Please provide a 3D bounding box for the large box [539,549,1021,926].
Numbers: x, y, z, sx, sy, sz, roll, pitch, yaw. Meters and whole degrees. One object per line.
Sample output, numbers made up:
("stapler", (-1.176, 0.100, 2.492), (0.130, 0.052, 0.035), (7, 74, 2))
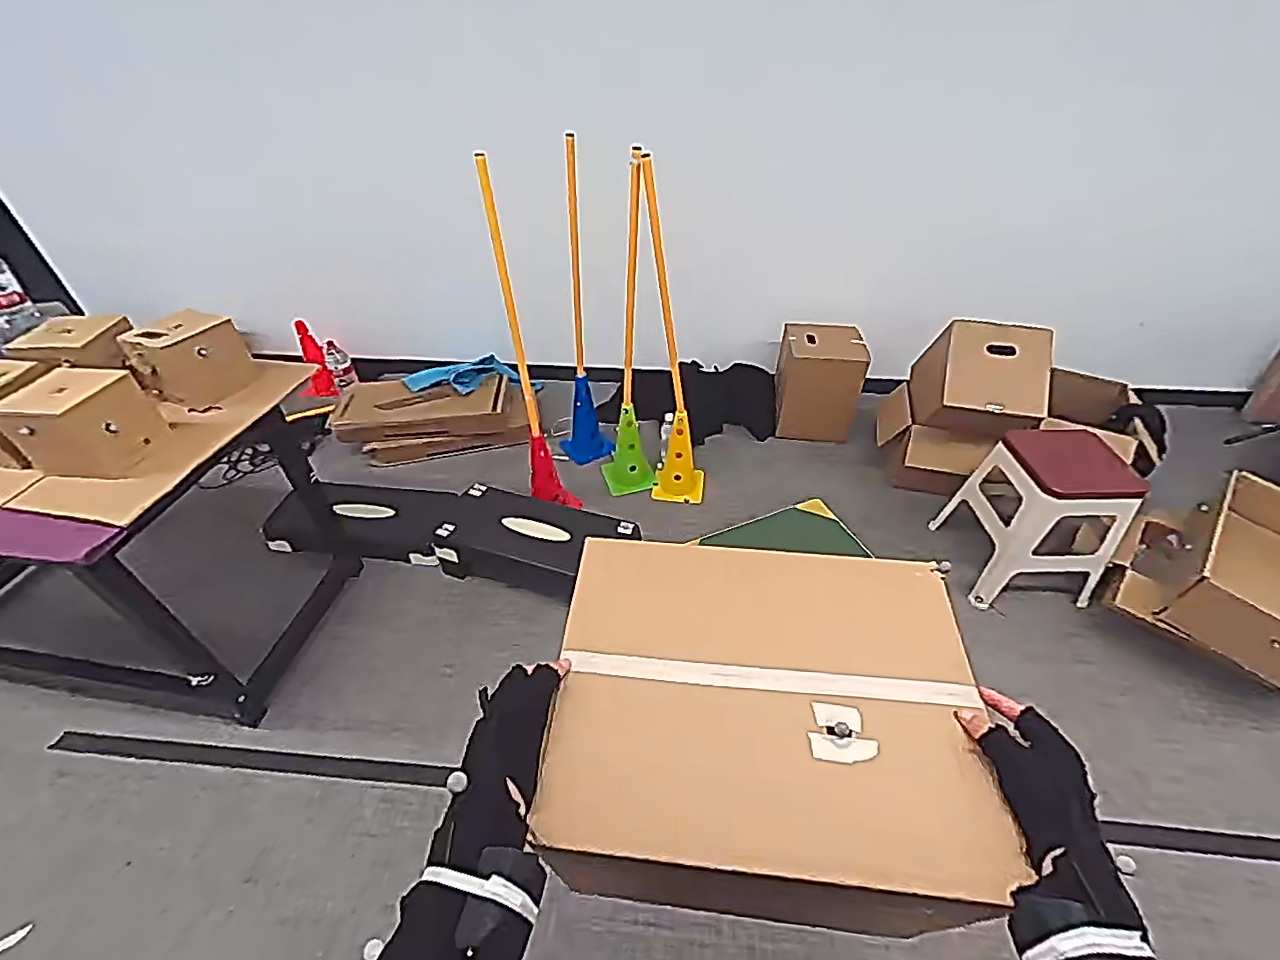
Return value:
("large box", (0.125, 0.307, 0.652), (0.408, 0.320, 0.320), (4, 48, 5))
